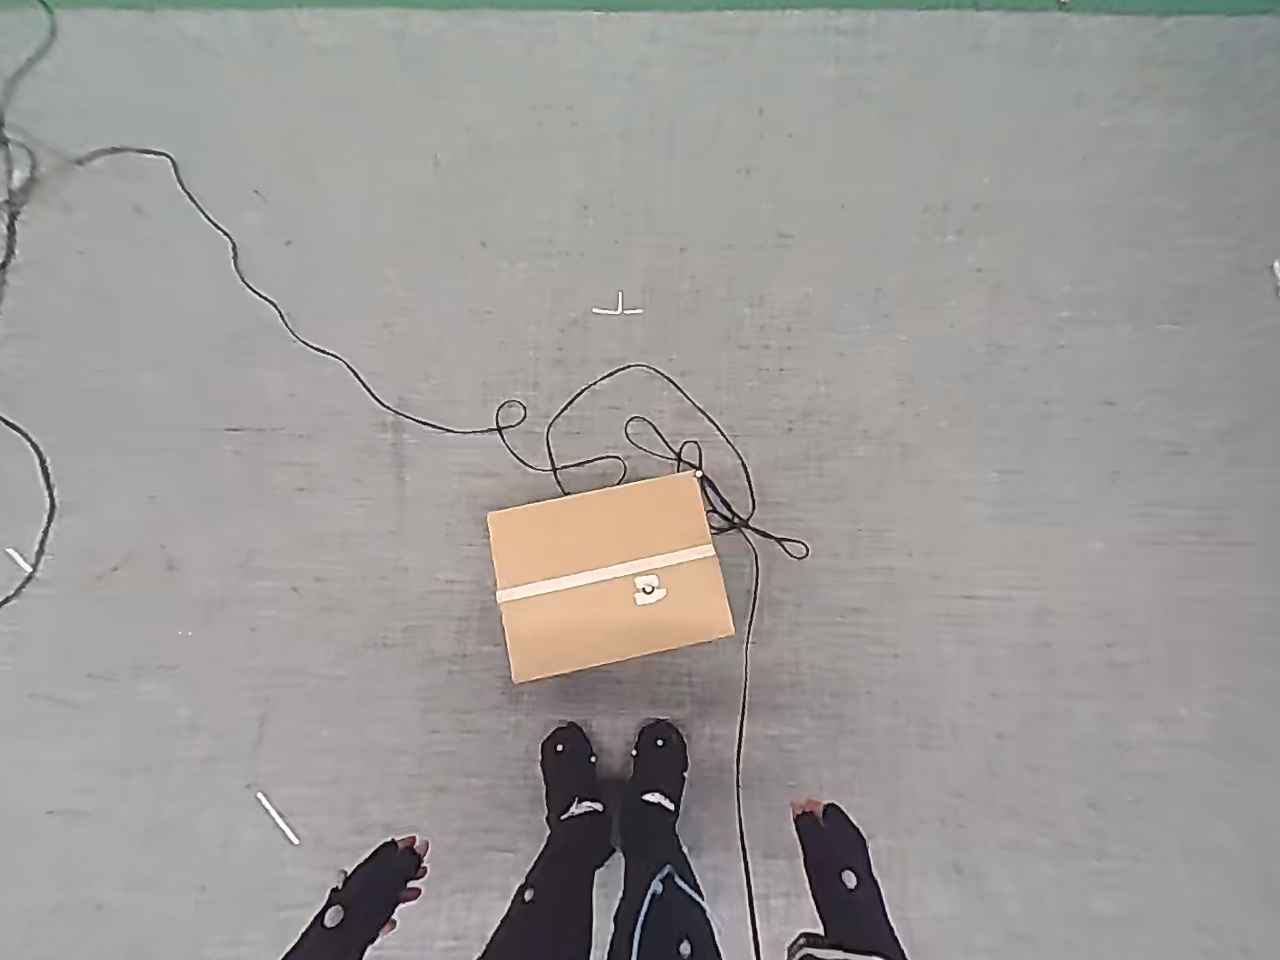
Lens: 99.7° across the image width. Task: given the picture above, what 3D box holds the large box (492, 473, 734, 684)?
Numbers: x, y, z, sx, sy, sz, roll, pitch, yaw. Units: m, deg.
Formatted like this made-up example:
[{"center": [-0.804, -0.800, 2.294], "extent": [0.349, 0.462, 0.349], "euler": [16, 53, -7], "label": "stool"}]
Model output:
[{"center": [-0.058, 0.208, 1.138], "extent": [0.408, 0.320, 0.320], "euler": [-12, 78, -4], "label": "large box"}]
